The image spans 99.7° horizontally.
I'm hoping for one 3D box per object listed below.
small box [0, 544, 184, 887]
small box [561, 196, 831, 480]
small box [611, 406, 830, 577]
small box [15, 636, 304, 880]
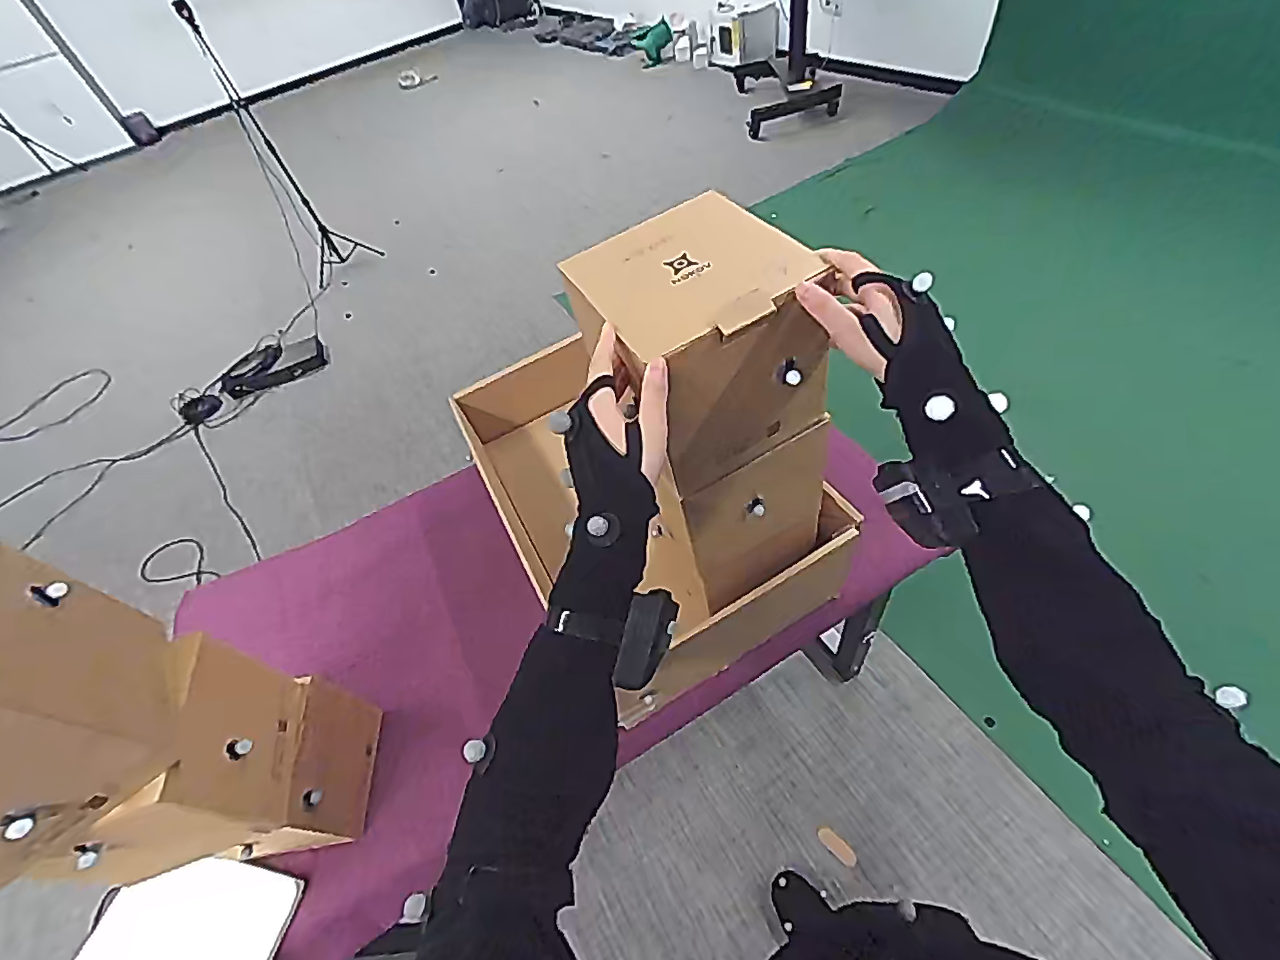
[{"bbox_3d":[-0.528,0.193,0.443,0.168,0.176,0.179,-37,53,-16],"label":"small box"},{"bbox_3d":[0.053,-0.123,0.502,0.168,0.176,0.179,-28,51,-8],"label":"small box"},{"bbox_3d":[0.092,-0.021,0.626,0.179,0.176,0.168,-29,51,-8],"label":"small box"},{"bbox_3d":[-0.493,0.295,0.569,0.179,0.176,0.168,-19,50,-3],"label":"small box"}]
